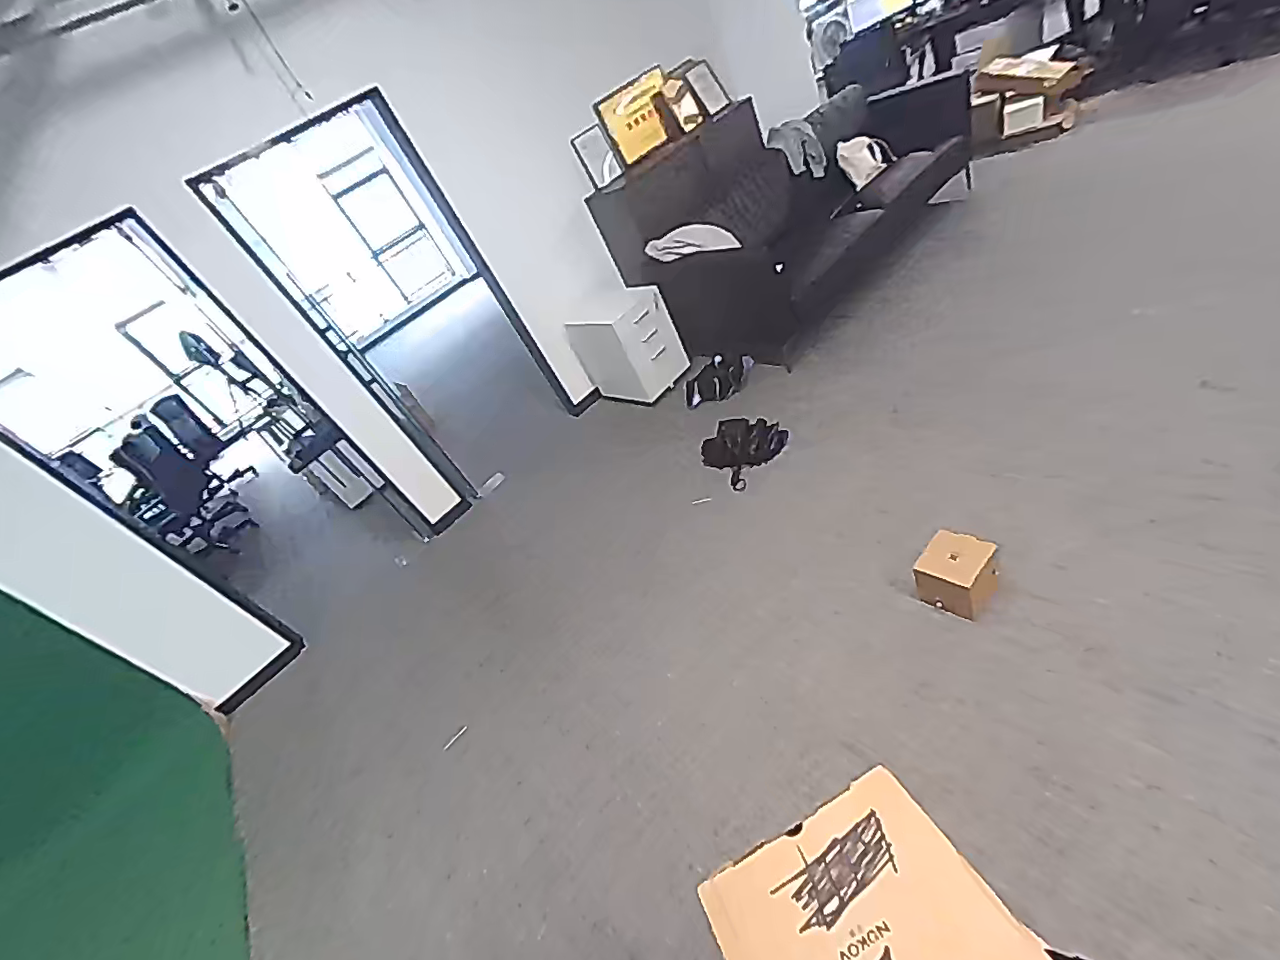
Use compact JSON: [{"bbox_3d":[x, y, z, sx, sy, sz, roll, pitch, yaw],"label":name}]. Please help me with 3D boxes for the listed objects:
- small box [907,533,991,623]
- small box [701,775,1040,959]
[{"bbox_3d":[0.942,0.297,1.641,0.179,0.176,0.168,-45,36,-19],"label":"small box"},{"bbox_3d":[0.166,0.355,0.366,0.168,0.176,0.179,-27,32,-8],"label":"small box"}]
